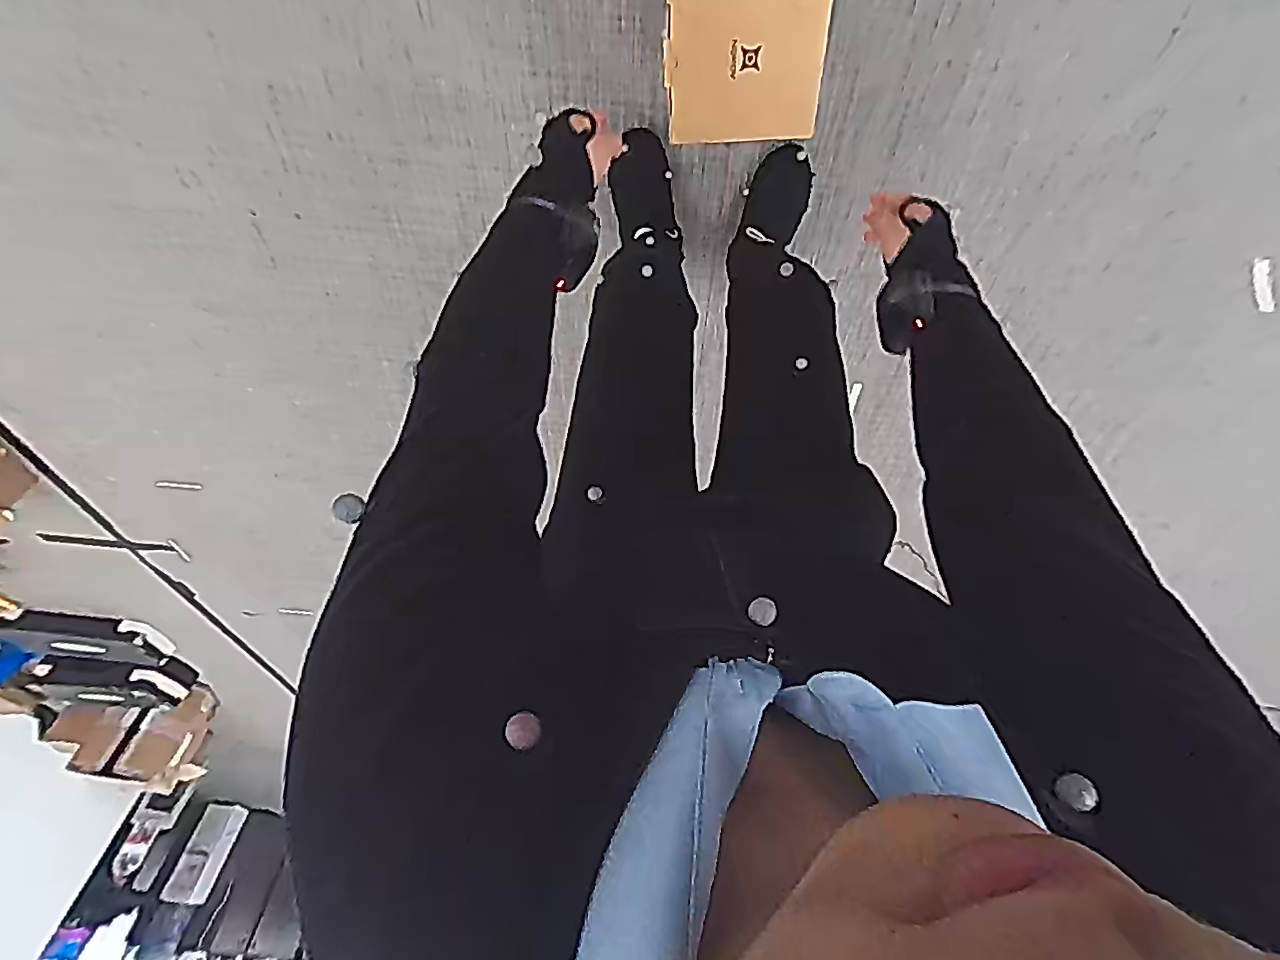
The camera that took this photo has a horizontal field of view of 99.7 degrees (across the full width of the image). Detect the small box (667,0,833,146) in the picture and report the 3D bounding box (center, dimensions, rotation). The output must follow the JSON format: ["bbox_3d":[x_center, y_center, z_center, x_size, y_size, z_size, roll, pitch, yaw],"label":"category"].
[{"bbox_3d":[0.124,-0.527,0.658,0.179,0.176,0.168,1,137,6],"label":"small box"}]
